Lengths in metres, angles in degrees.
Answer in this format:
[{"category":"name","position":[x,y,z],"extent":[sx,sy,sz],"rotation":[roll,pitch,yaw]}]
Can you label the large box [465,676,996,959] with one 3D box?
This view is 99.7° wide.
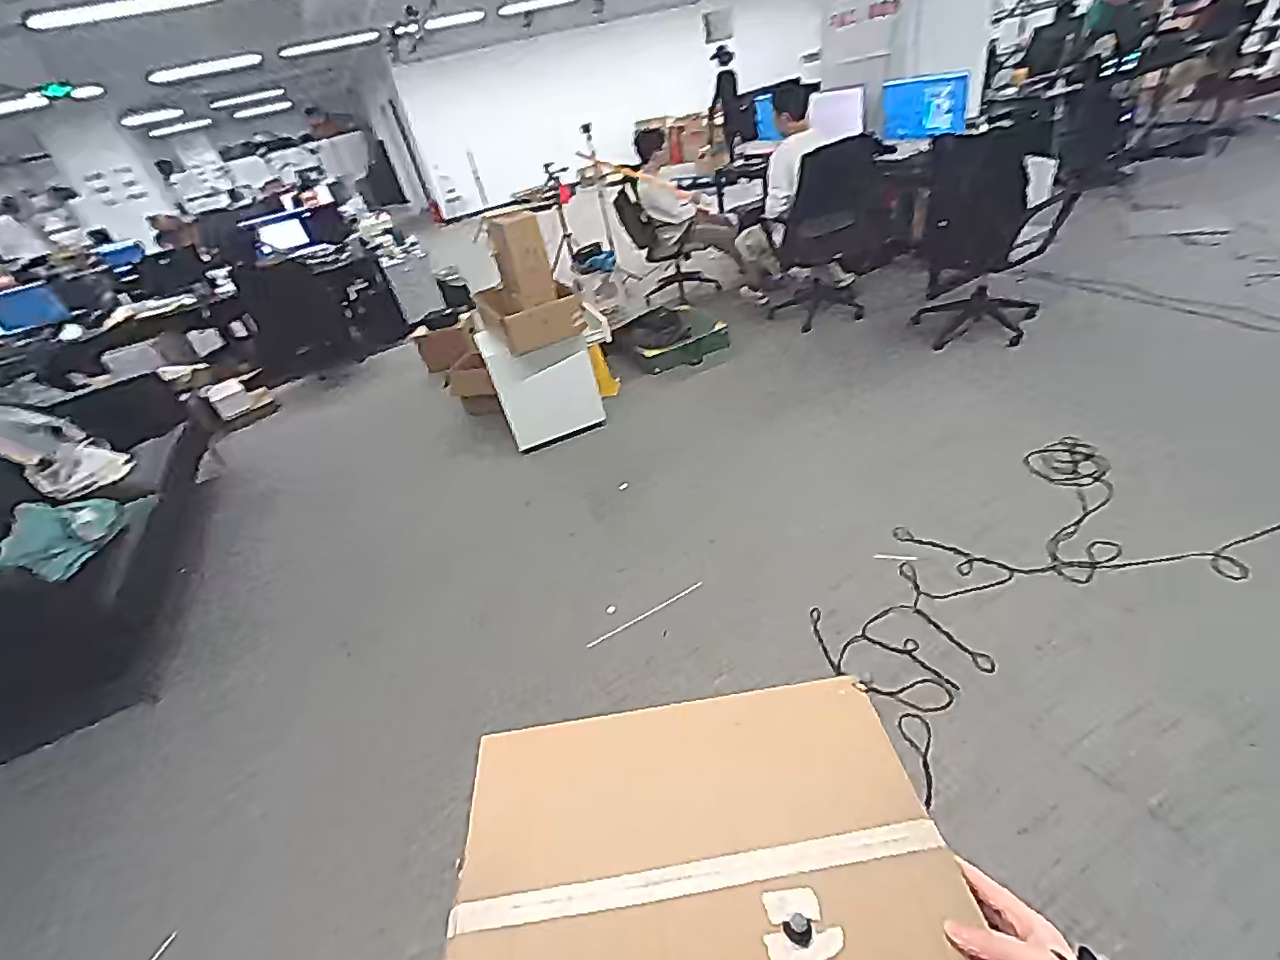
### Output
[{"category":"large box","position":[0.067,0.448,0.543],"extent":[0.408,0.320,0.320],"rotation":[-7,35,-2]}]
